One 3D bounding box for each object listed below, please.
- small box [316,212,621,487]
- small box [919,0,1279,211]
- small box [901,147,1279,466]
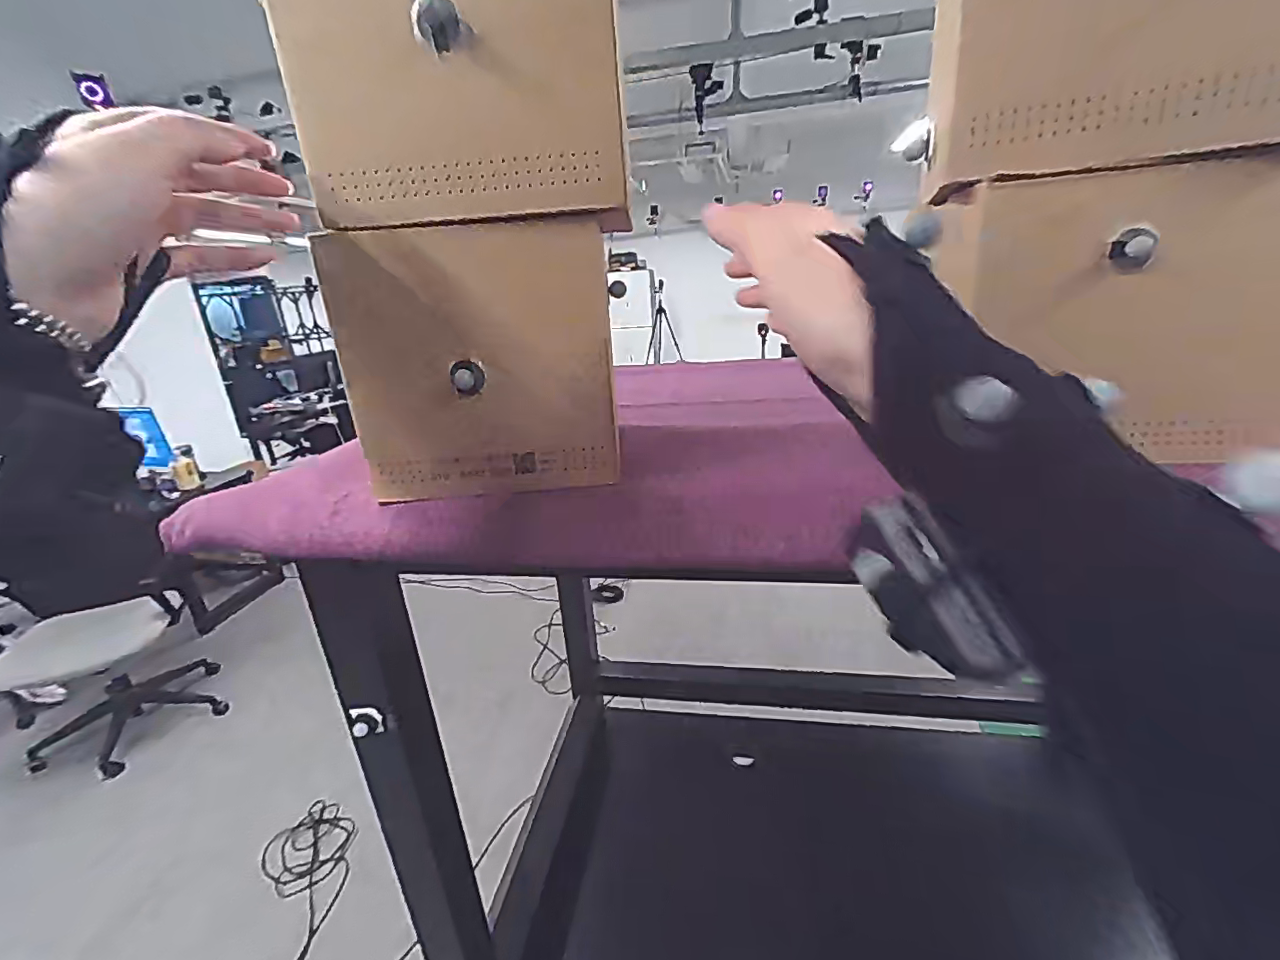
[{"bbox_3d":[-0.102,-0.097,0.413,0.168,0.176,0.179,-4,20,-1],"label":"small box"},{"bbox_3d":[0.277,-0.264,0.323,0.179,0.176,0.168,3,20,21],"label":"small box"},{"bbox_3d":[0.294,-0.112,0.377,0.179,0.176,0.168,1,21,12],"label":"small box"}]
